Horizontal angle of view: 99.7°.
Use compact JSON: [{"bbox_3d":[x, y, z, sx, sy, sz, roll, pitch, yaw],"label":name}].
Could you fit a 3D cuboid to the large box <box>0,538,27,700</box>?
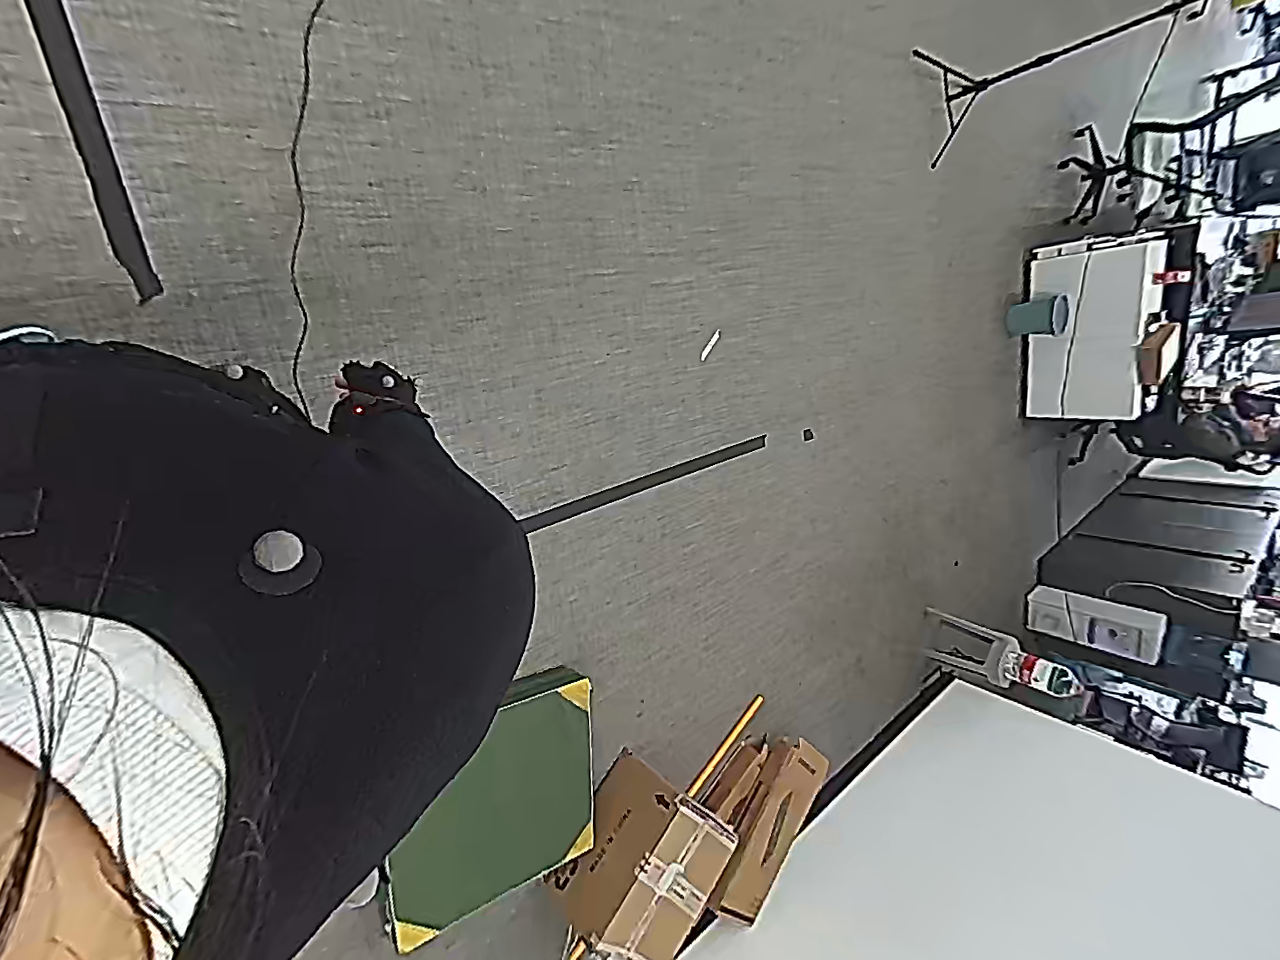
[{"bbox_3d":[-0.924,0.069,0.541,0.320,0.408,0.320,-20,147,-39],"label":"large box"}]
